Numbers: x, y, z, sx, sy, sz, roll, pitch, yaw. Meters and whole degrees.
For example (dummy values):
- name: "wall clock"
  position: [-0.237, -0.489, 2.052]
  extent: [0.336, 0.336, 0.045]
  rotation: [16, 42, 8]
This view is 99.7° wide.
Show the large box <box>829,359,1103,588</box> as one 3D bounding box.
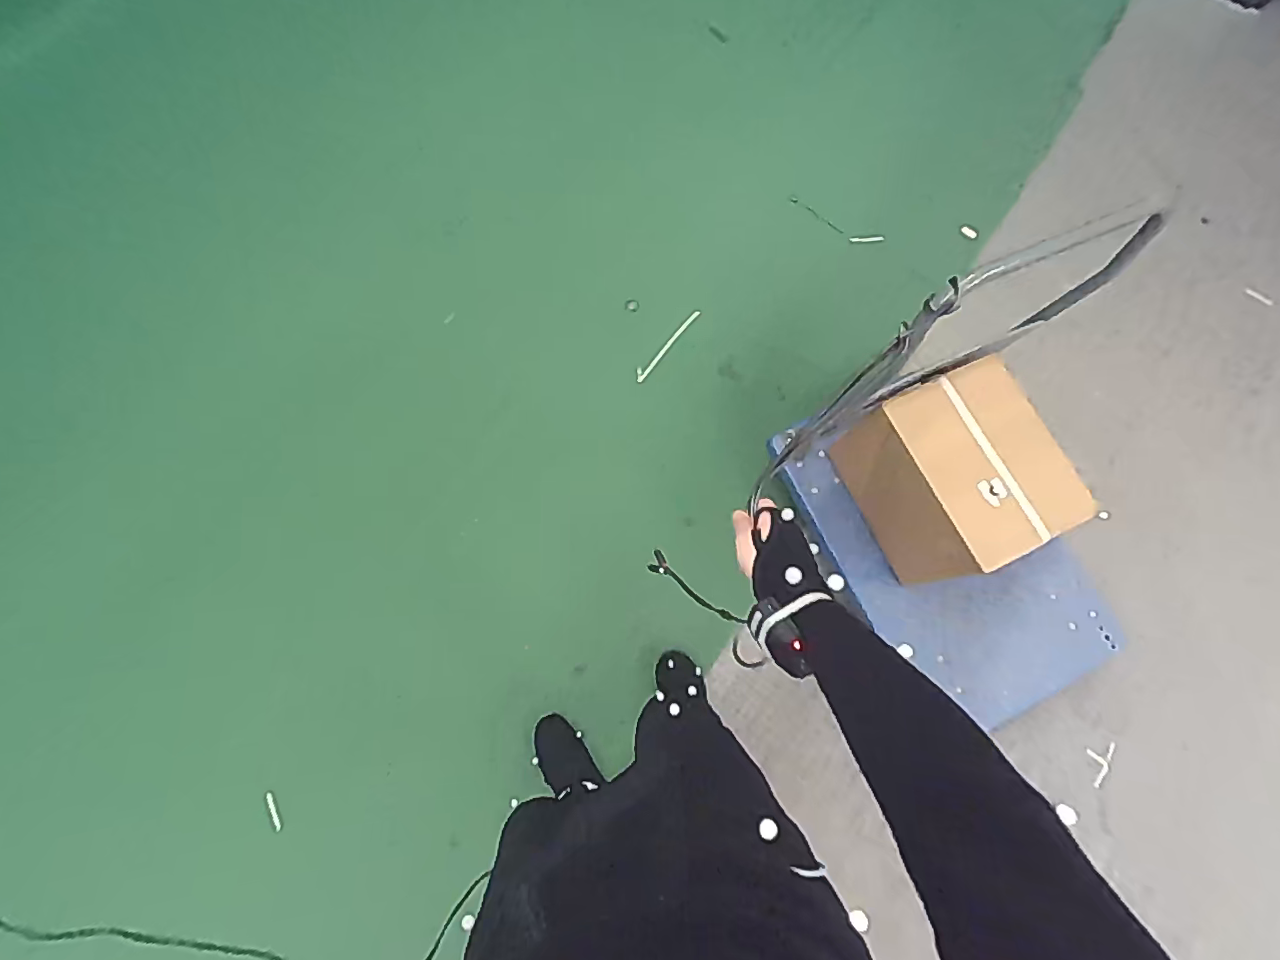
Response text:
- name: "large box"
  position: [0.725, 0.001, 1.272]
  extent: [0.320, 0.320, 0.408]
  rotation: [-24, 78, -10]
